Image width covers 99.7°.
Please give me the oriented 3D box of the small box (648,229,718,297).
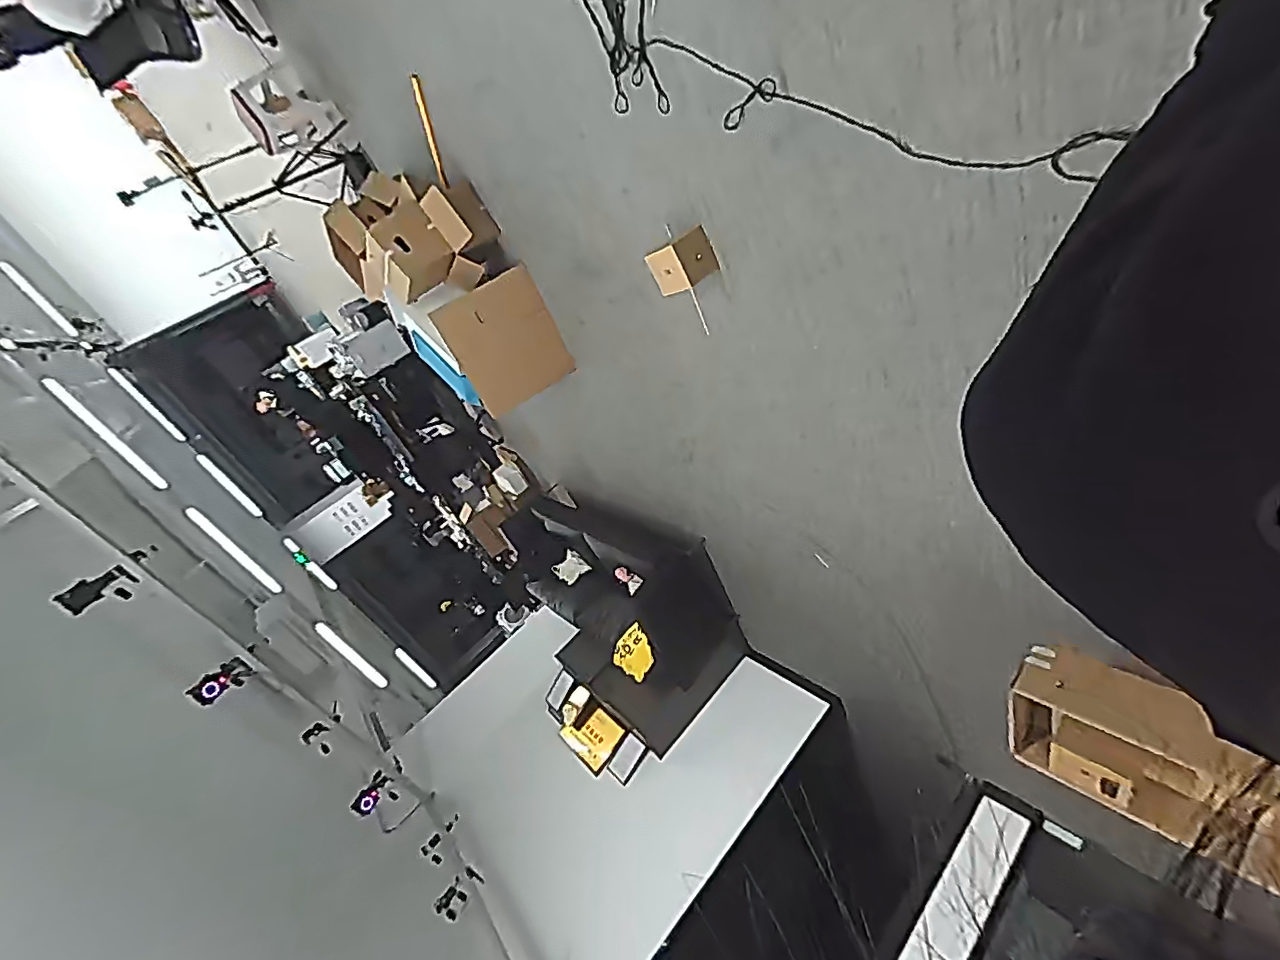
[{"bbox_3d":[0.171,-0.817,2.034,0.179,0.176,0.168,10,137,56],"label":"small box"}]
